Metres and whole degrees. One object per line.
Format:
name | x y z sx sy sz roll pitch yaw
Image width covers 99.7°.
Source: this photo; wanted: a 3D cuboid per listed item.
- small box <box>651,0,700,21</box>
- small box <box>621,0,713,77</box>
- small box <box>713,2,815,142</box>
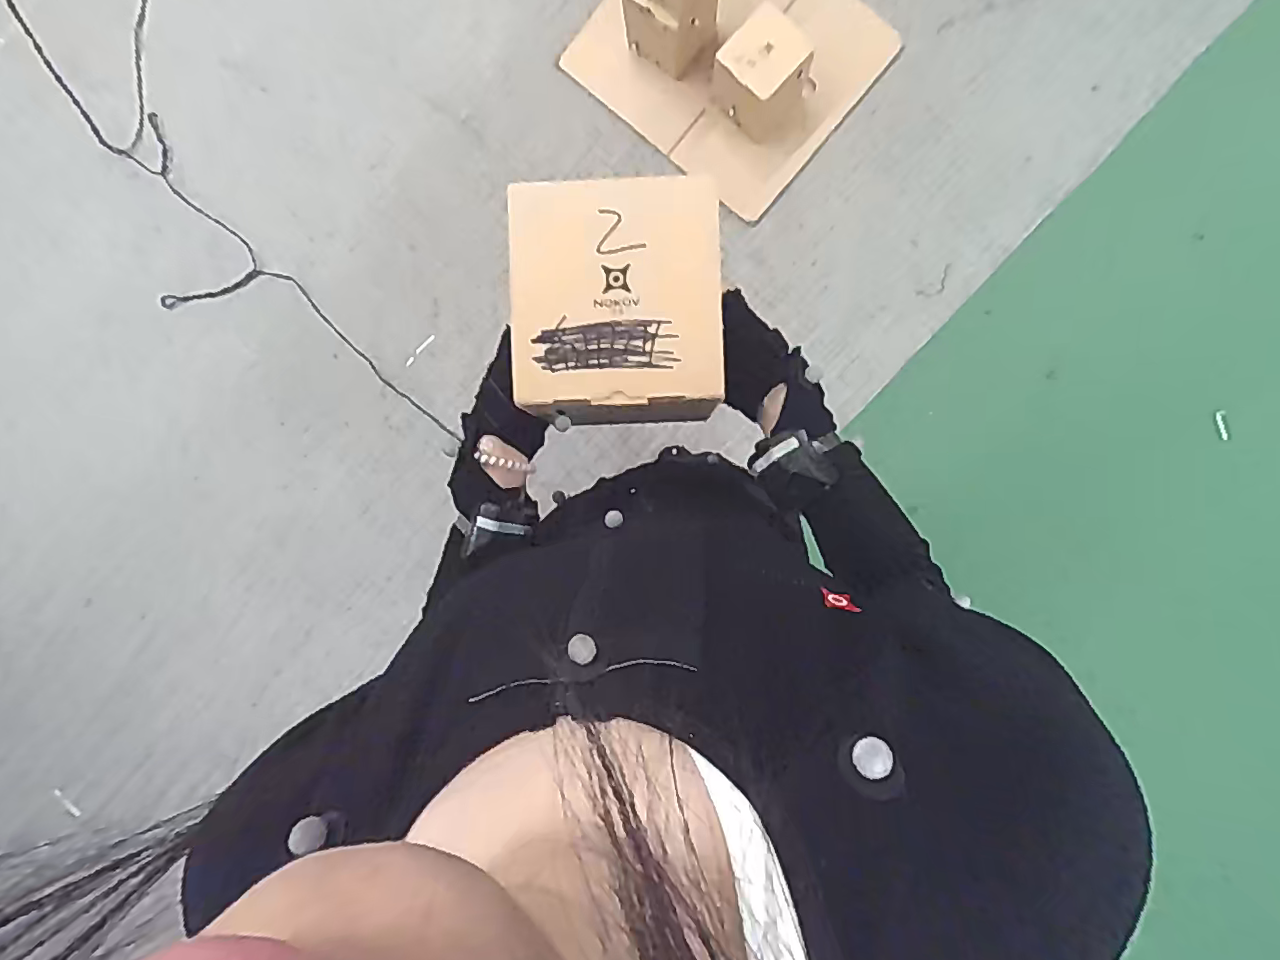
small box | 0.086 -1.183 1.184 0.168 0.176 0.179 41 94 1
small box | 0.075 -1.169 1.348 0.168 0.176 0.179 38 94 2
small box | 0.296 -1.000 1.342 0.168 0.176 0.179 45 95 2
